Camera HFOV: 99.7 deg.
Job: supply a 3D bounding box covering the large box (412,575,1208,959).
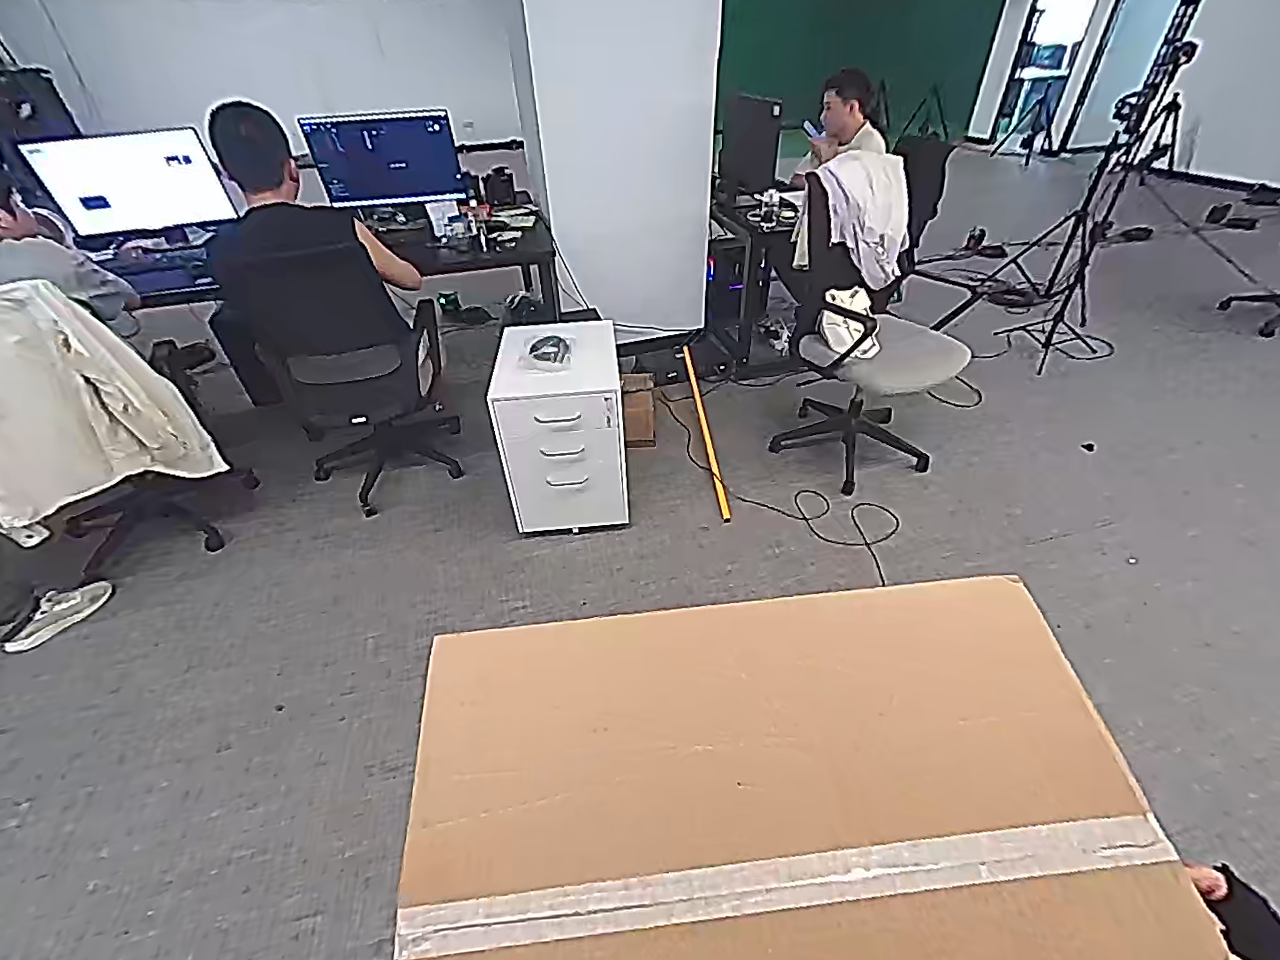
[{"bbox_3d":[0.082,0.301,0.414,0.408,0.320,0.320,-6,55,-2],"label":"large box"}]
